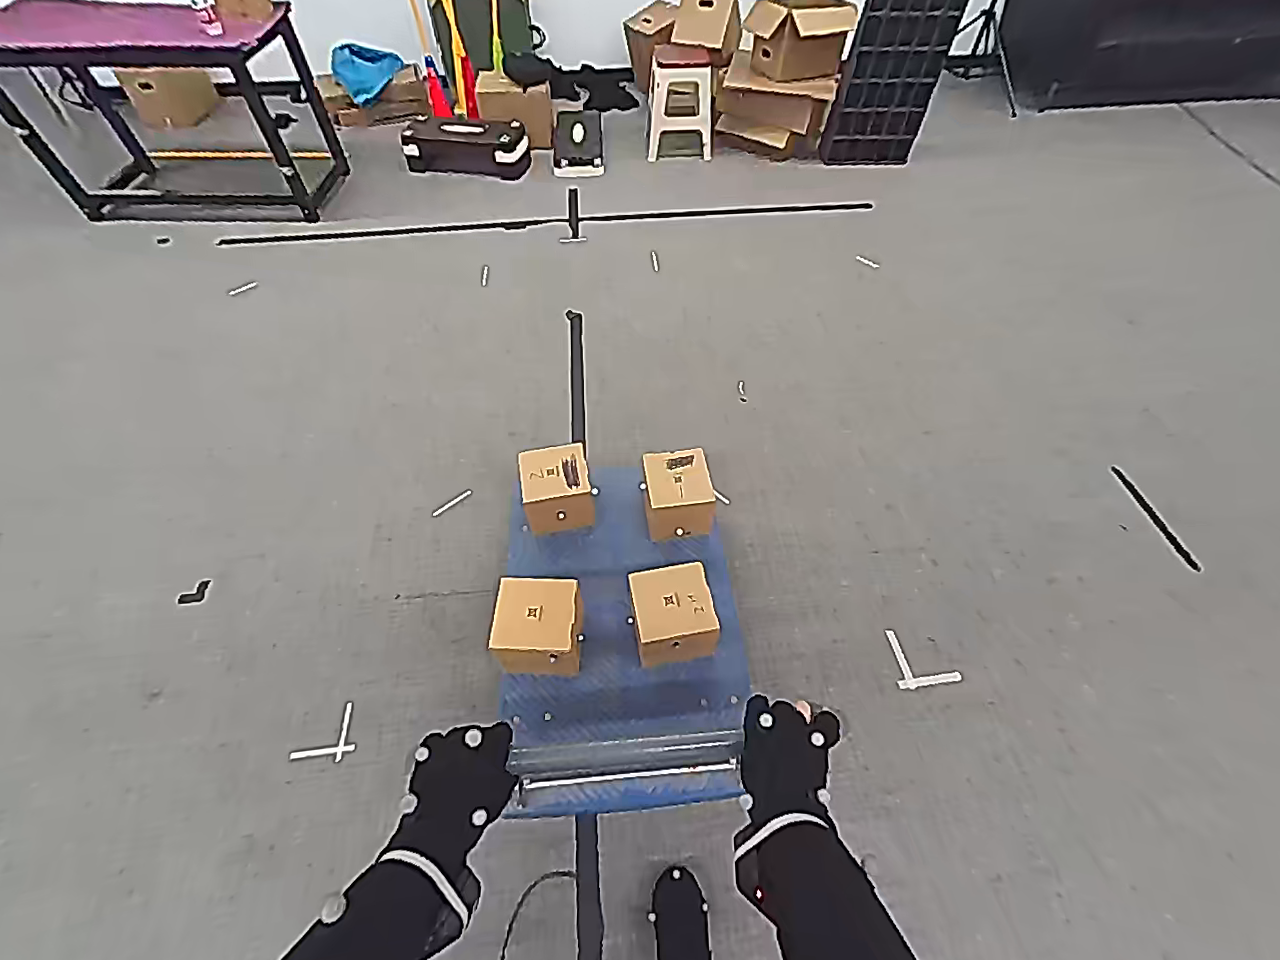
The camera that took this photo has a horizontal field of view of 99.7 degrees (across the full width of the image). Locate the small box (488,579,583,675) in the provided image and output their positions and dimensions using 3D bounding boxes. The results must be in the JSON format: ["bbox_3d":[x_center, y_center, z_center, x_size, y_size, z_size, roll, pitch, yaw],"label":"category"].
[{"bbox_3d":[-0.230,0.339,1.237,0.179,0.176,0.168,2,54,0],"label":"small box"}]

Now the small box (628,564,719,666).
[{"bbox_3d":[0.073,0.317,1.251,0.179,0.176,0.168,-9,54,-6],"label":"small box"}]

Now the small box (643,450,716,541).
[{"bbox_3d":[0.099,0.043,1.451,0.168,0.176,0.179,-6,55,-4],"label":"small box"}]
